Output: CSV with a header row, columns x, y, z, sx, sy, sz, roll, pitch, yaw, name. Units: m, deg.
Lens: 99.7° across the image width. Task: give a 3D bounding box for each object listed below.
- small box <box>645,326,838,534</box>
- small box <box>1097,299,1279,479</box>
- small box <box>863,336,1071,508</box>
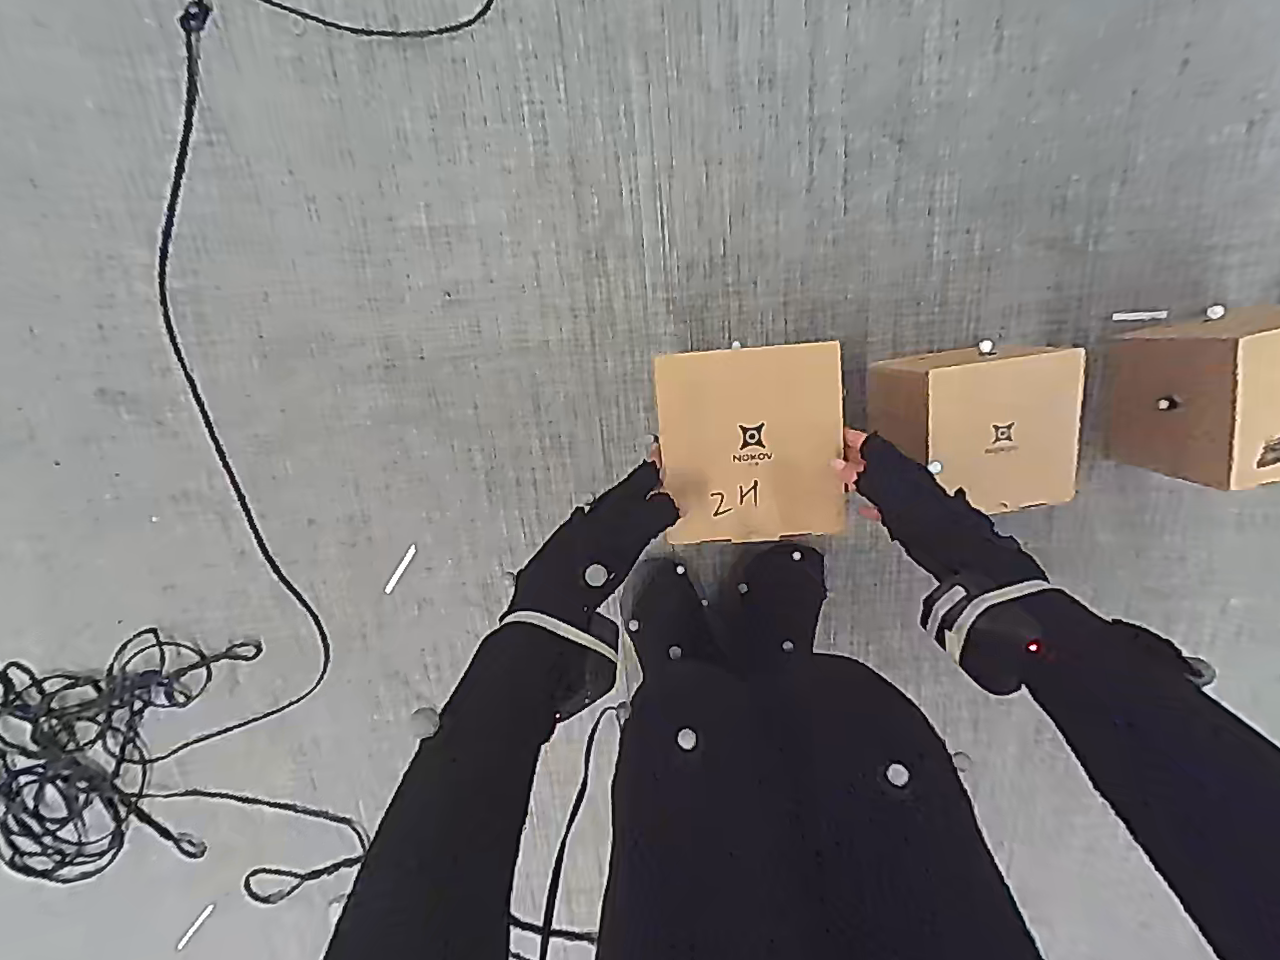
x,y,z,sx,sy,sz,roll,pitch,yaw,name
0.092,-0.052,0.558,0.168,0.176,0.179,-5,98,2,small box
0.707,-0.119,0.662,0.168,0.176,0.179,-12,104,4,small box
0.392,-0.081,0.679,0.168,0.176,0.179,-8,106,4,small box
